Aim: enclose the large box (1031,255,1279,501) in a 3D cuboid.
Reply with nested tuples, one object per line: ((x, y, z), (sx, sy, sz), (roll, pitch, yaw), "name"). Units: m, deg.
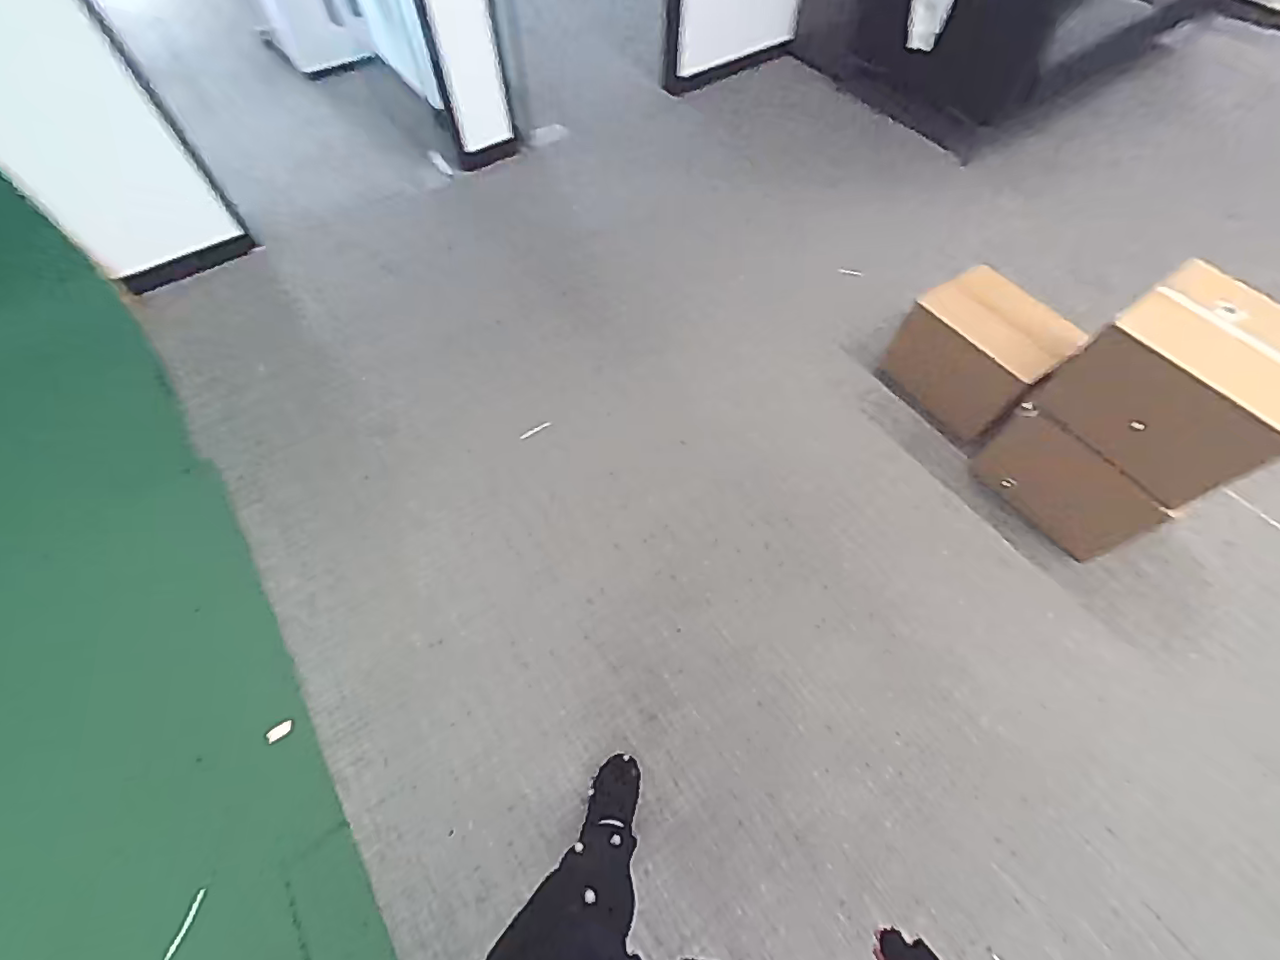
((1.261, -0.230, 1.260), (0.320, 0.320, 0.408), (-34, 65, -13), "large box")
